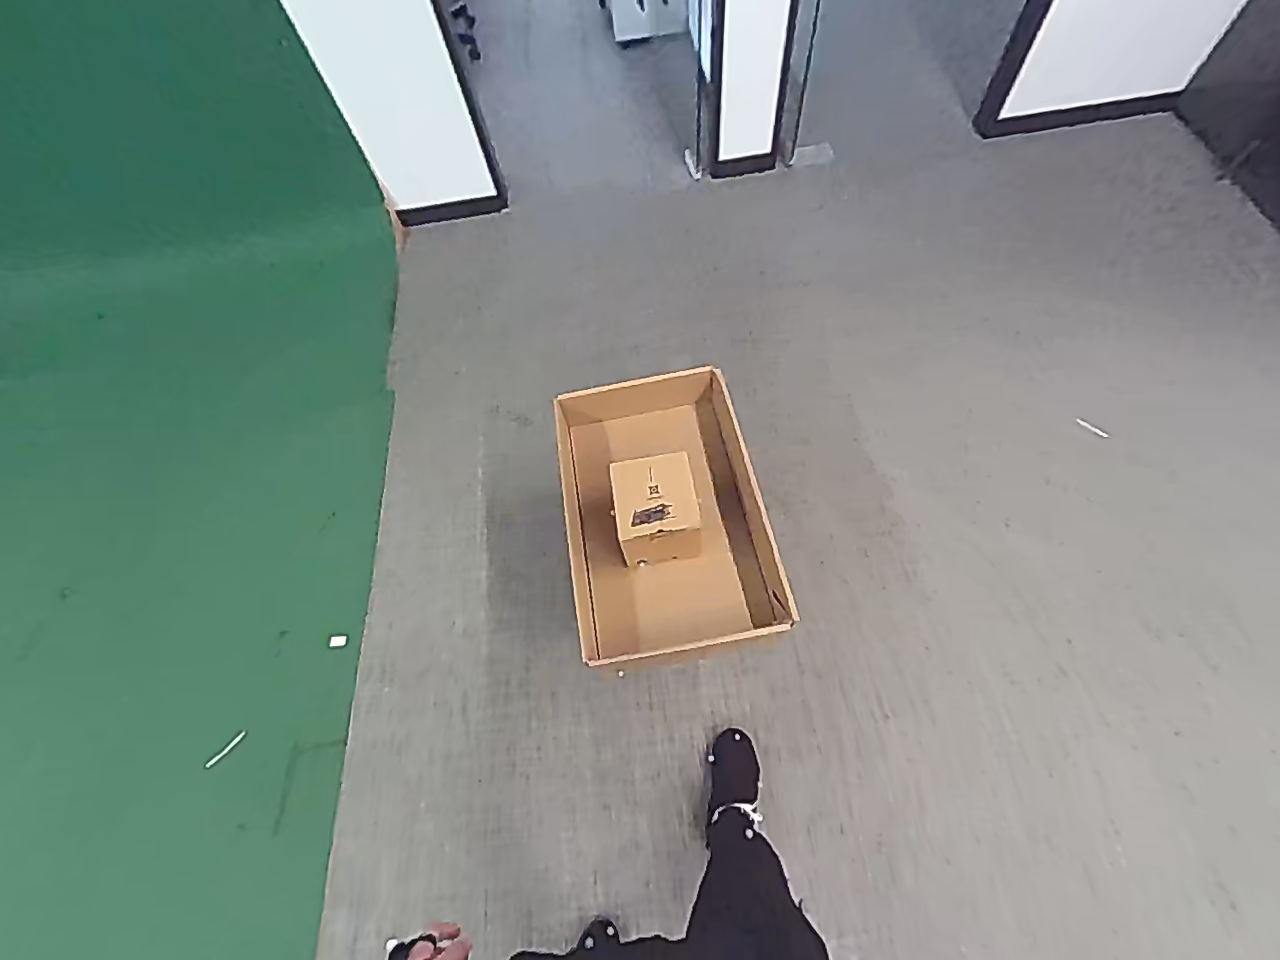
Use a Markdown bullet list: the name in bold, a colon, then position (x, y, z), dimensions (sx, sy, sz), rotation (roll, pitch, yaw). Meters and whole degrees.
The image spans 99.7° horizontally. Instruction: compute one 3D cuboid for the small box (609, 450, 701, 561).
- **small box**: position (0.035, 0.062, 1.143), dimensions (0.168, 0.176, 0.179), rotation (-10, 61, 0)
